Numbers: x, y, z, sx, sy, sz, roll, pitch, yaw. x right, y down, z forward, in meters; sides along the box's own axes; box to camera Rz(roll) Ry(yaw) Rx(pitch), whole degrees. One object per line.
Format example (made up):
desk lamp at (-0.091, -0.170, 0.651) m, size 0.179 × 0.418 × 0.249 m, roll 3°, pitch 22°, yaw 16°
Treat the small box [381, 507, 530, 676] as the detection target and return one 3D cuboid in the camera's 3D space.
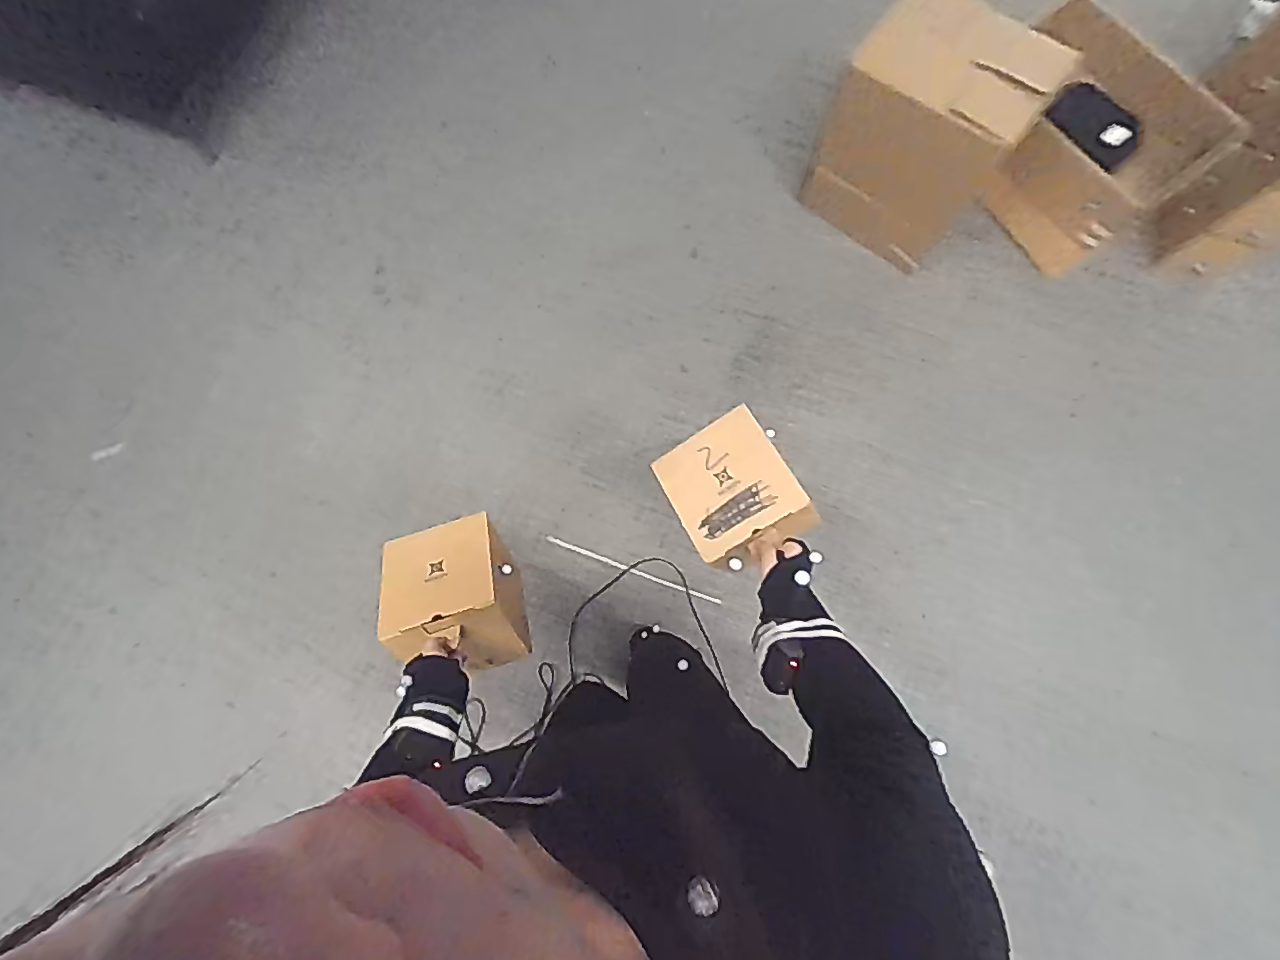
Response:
small box at (-0.280, 0.175, 0.849) m, size 0.168 × 0.176 × 0.179 m, roll -16°, pitch 47°, yaw -4°
